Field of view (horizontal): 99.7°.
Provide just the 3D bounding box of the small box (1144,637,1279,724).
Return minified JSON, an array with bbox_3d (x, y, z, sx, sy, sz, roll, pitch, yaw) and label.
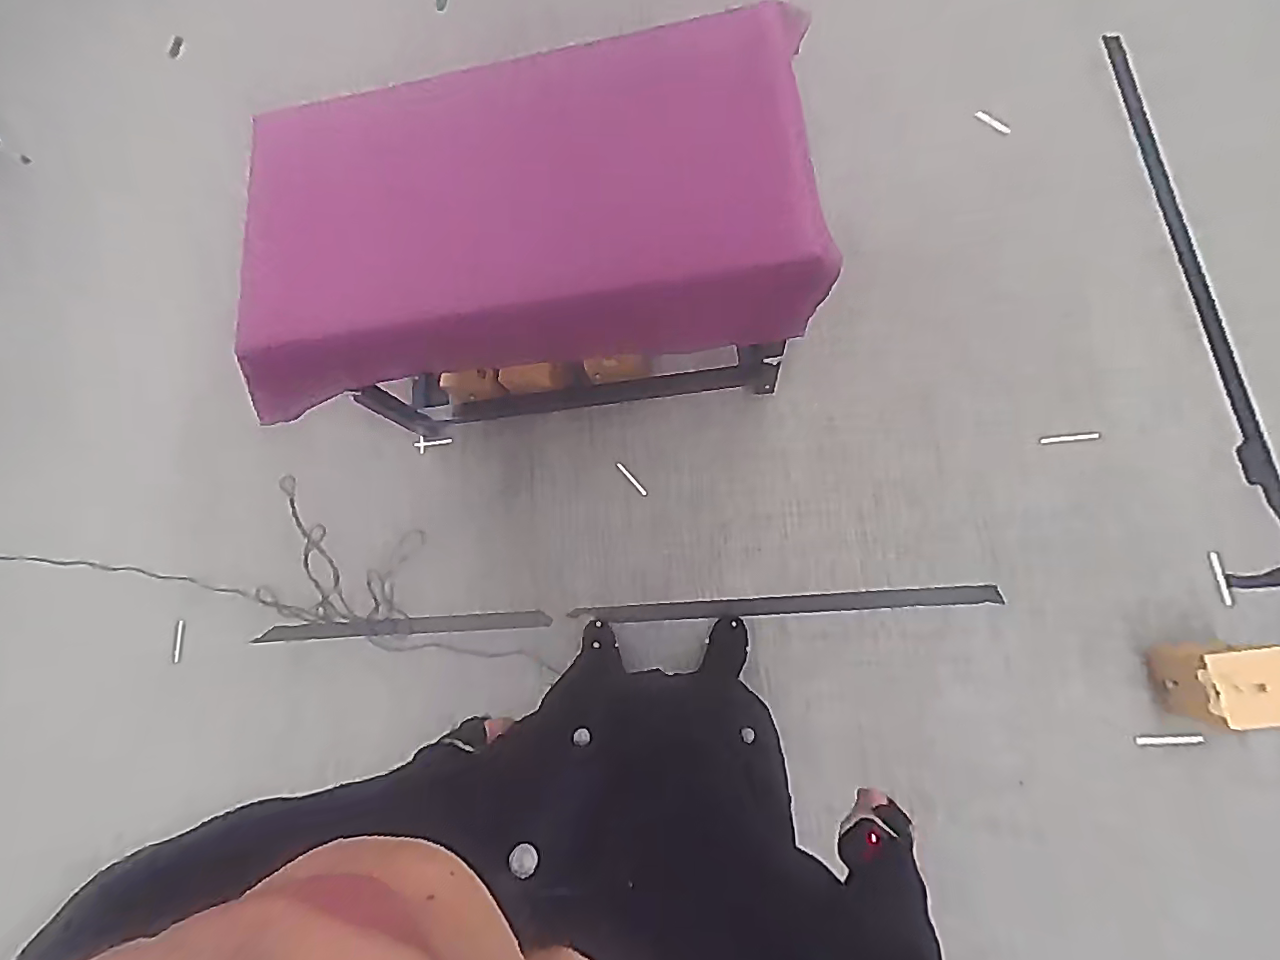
[{"bbox_3d":[1.397,0.479,1.309,0.179,0.176,0.168,-9,77,8],"label":"small box"}]
